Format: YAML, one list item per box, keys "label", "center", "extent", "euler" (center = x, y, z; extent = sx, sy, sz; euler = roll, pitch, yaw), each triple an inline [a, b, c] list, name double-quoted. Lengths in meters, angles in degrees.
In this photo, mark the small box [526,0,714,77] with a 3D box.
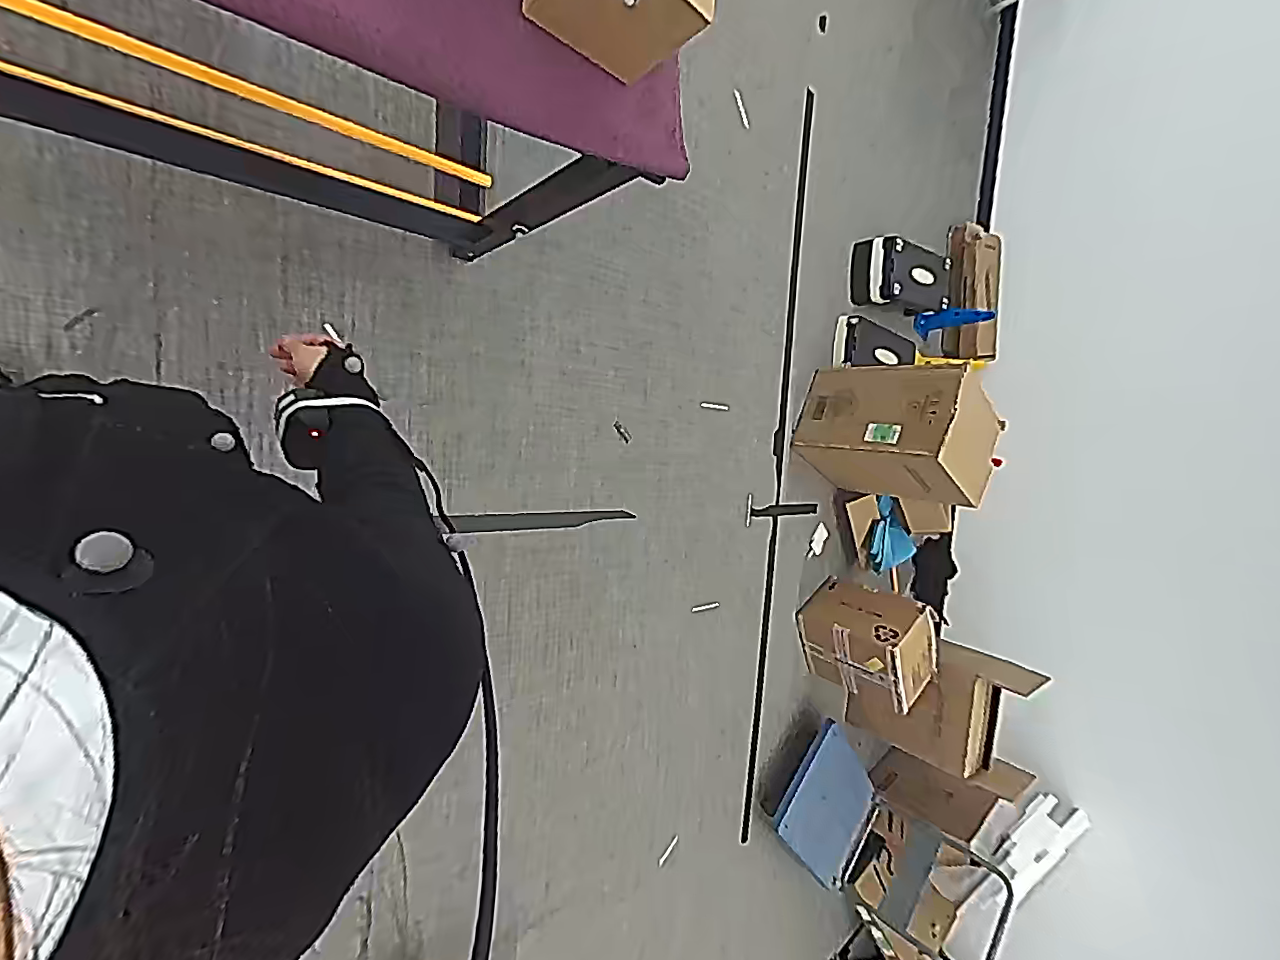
- label: "small box"
  center: [-0.023, -0.650, 0.666]
  extent: [0.179, 0.176, 0.168]
  euler: [3, 93, -42]
